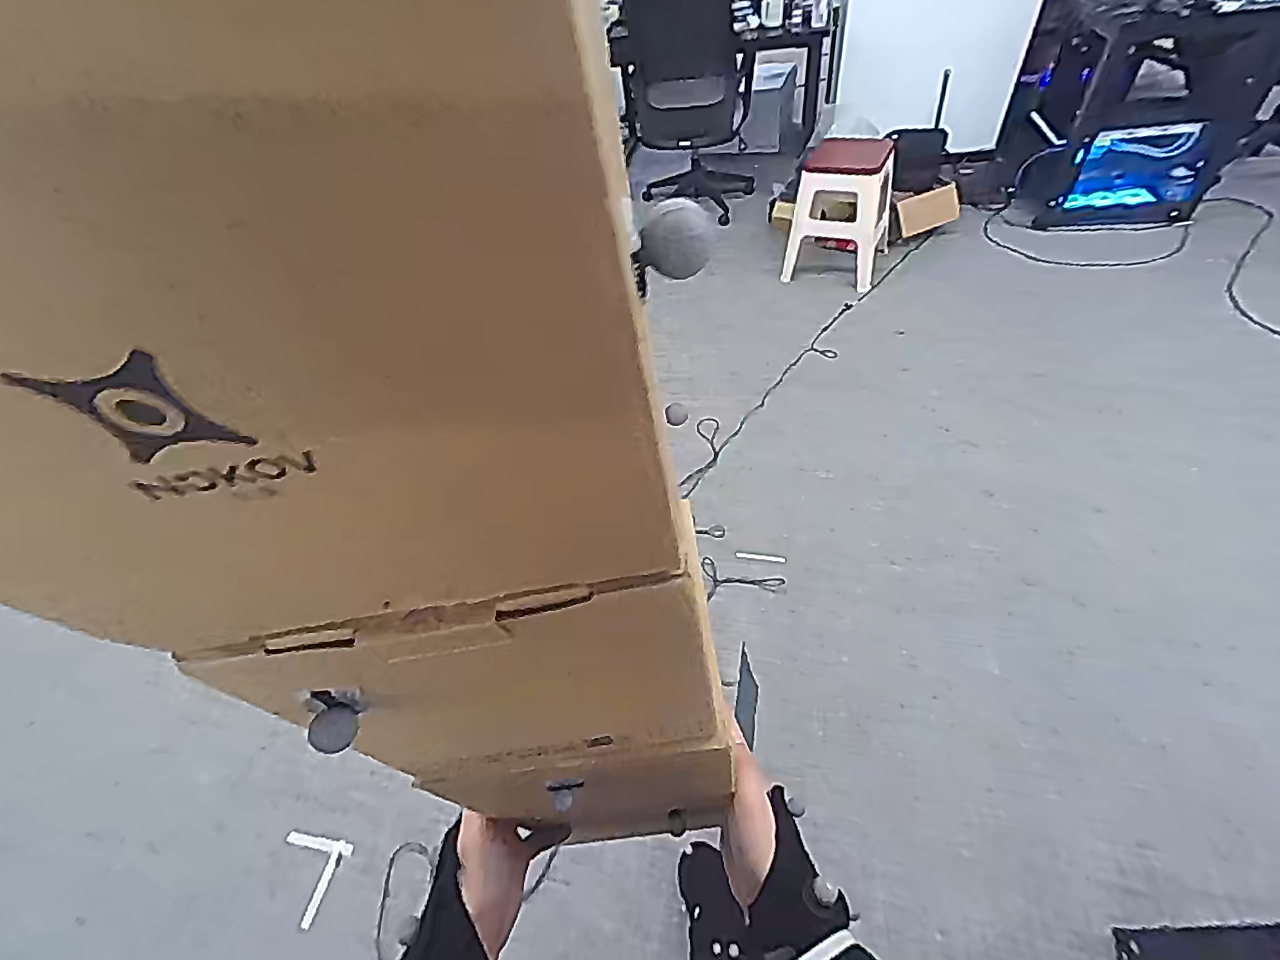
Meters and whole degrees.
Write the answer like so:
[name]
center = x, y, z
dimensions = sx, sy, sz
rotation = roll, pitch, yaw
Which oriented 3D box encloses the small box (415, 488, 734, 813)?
[small box]
center = -0.031, 0.131, 0.397
dimensions = 0.179, 0.176, 0.168
rotation = -9, 50, 3
